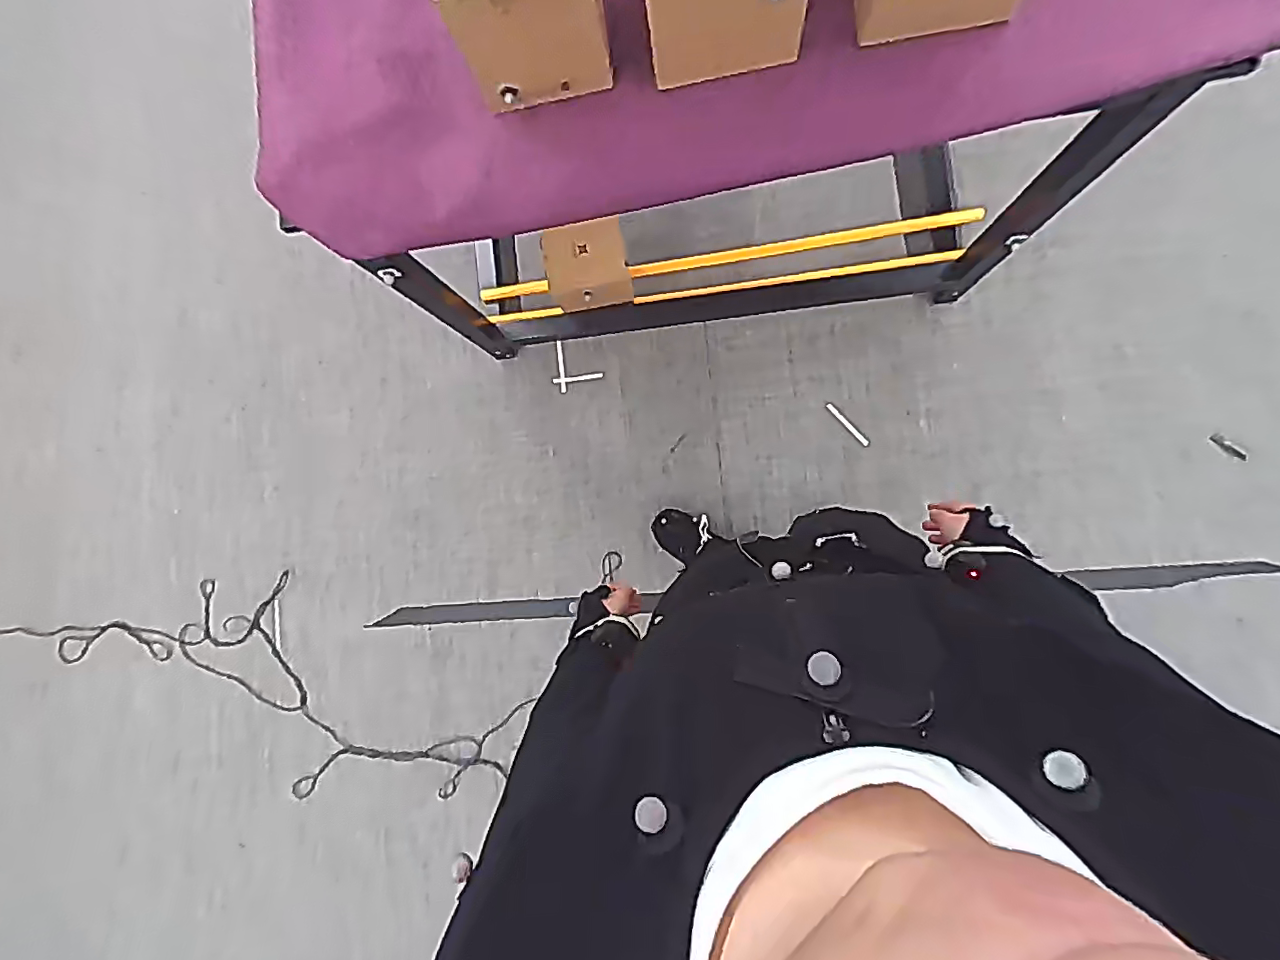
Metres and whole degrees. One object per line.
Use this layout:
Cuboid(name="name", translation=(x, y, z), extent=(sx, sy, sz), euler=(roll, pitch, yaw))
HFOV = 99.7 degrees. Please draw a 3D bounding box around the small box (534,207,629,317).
Cuboid(name="small box", translation=(-0.126, -0.494, 1.248), extent=(0.179, 0.176, 0.168), euler=(-11, 88, 7))
